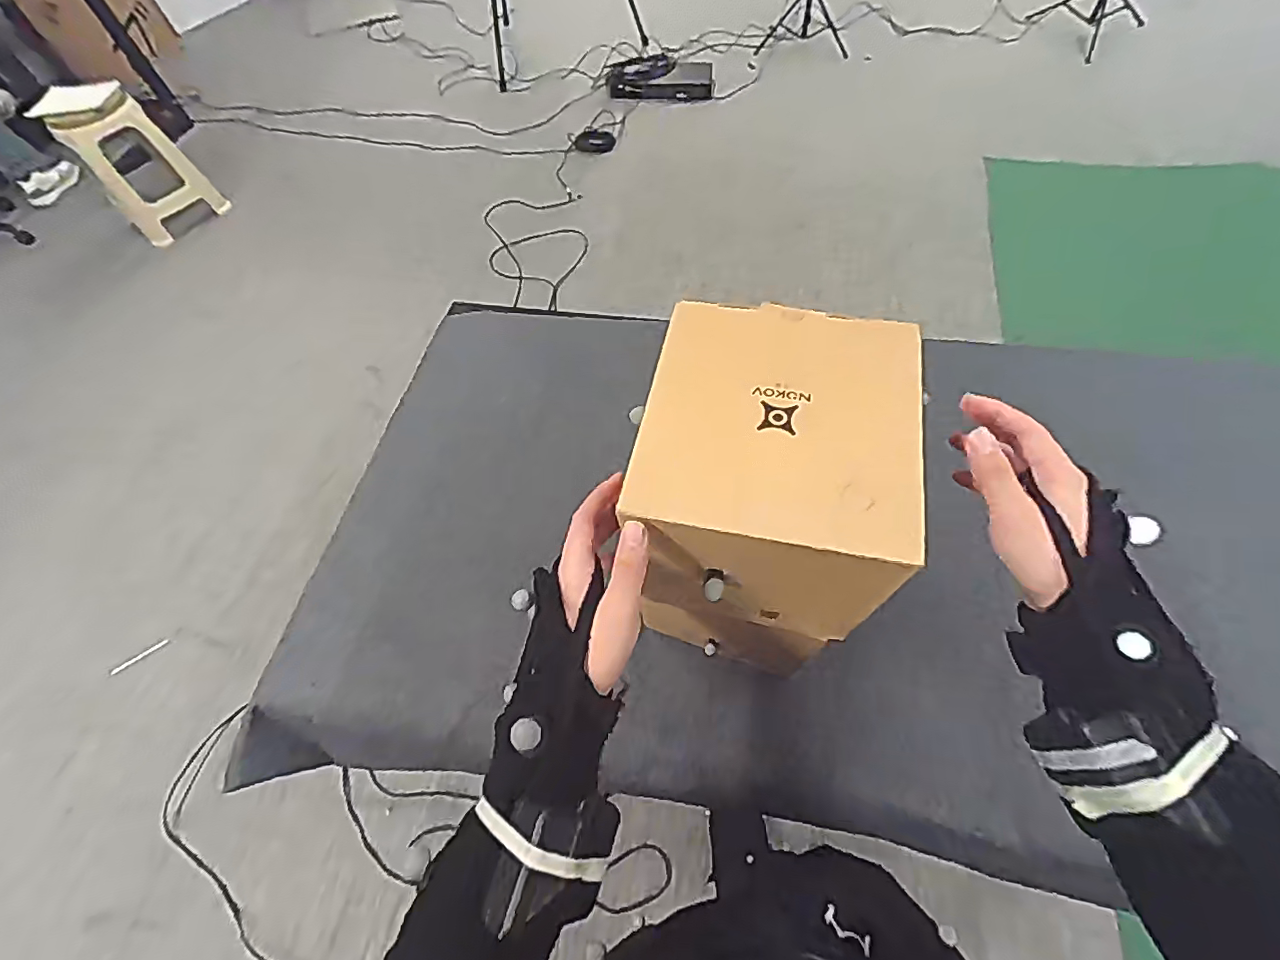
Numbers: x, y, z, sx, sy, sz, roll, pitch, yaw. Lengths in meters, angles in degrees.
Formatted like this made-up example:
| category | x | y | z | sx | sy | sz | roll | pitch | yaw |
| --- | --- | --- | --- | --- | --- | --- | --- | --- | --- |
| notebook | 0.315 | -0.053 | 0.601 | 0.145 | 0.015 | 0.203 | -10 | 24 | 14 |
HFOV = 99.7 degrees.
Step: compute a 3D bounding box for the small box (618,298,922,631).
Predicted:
| category | x | y | z | sx | sy | sz | roll | pitch | yaw |
| --- | --- | --- | --- | --- | --- | --- | --- | --- | --- |
| small box | 0.092 | -0.003 | 0.399 | 0.168 | 0.176 | 0.179 | 9 | 61 | 10 |
